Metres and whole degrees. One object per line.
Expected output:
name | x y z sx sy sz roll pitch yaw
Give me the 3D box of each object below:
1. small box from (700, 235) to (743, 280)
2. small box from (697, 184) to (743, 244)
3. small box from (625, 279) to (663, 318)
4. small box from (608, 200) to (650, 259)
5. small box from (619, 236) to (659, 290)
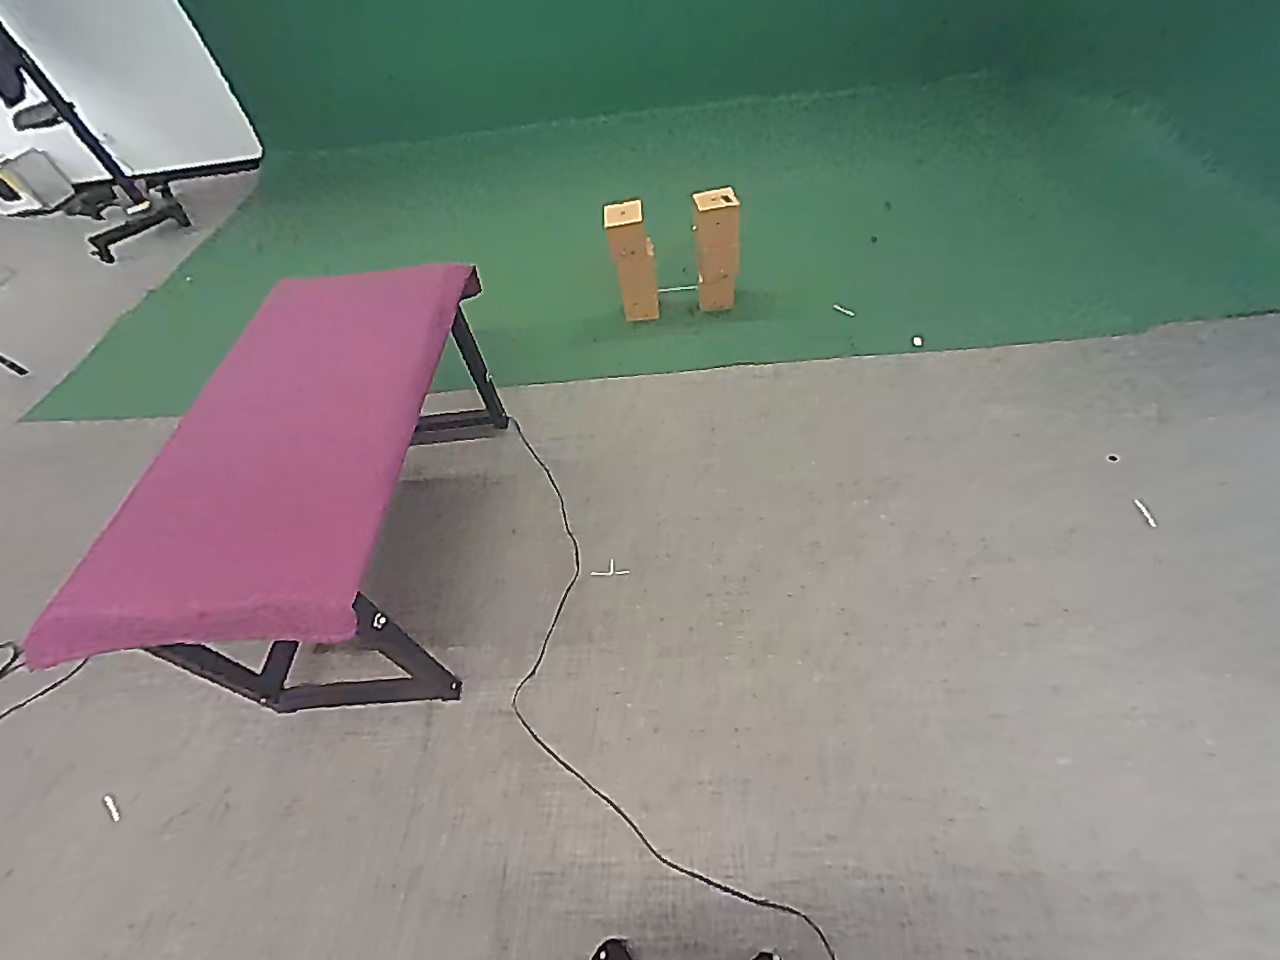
small box | 0.375 -1.063 2.517 0.168 0.176 0.179 -12 52 0
small box | 0.351 -1.177 2.399 0.179 0.176 0.168 -10 51 2
small box | 0.022 -0.920 2.673 0.168 0.176 0.179 -6 51 5
small box | -0.047 -1.120 2.422 0.168 0.176 0.179 -7 51 6
small box | -0.003 -1.021 2.546 0.179 0.176 0.168 -7 51 3
